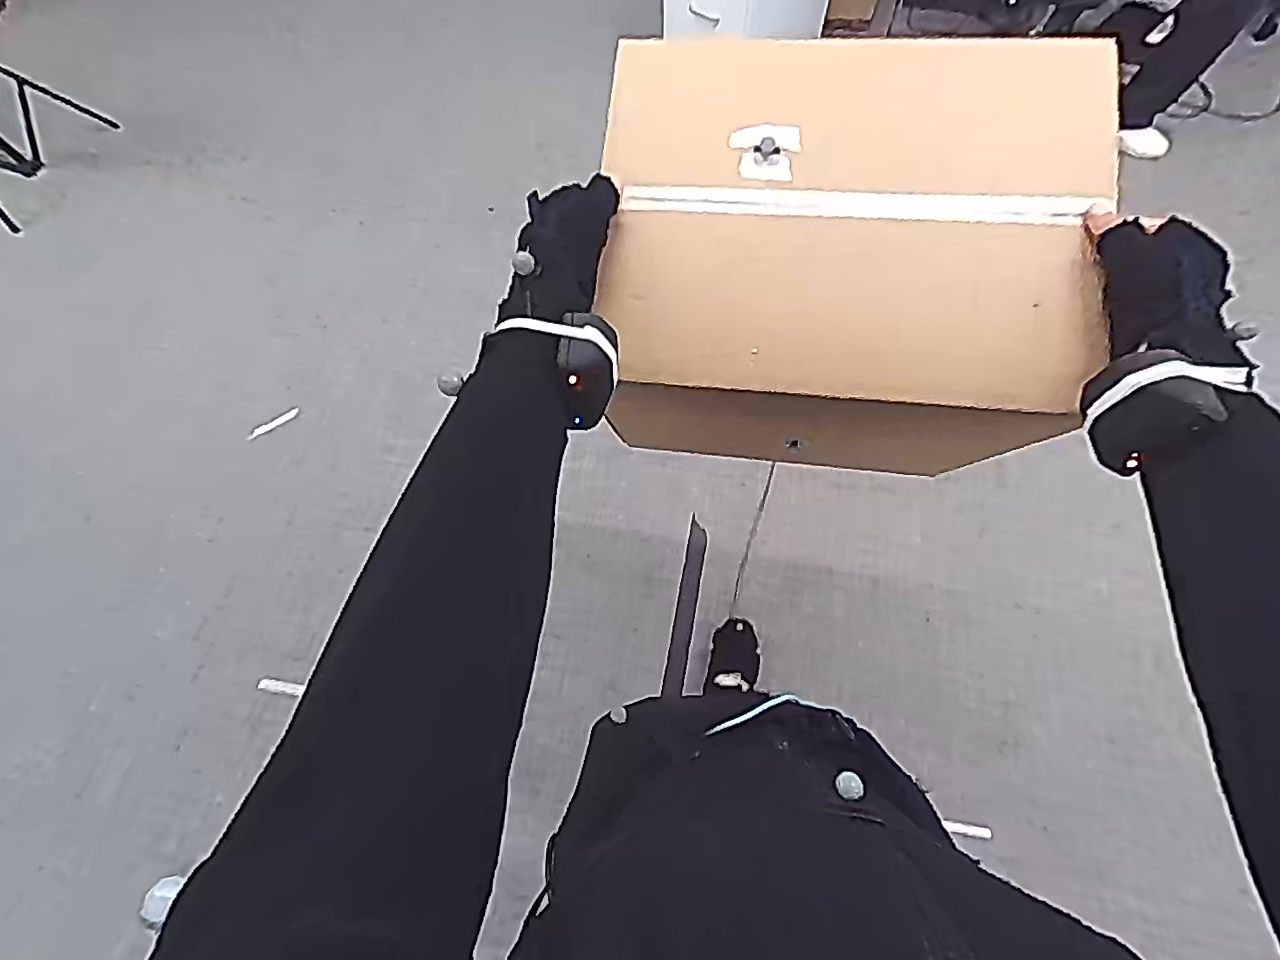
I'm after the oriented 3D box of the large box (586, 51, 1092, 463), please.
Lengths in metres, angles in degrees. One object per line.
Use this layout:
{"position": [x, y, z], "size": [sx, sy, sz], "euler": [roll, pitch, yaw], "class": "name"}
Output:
{"position": [0.184, -0.203, 0.605], "size": [0.408, 0.320, 0.320], "euler": [6, 82, 9], "class": "large box"}
